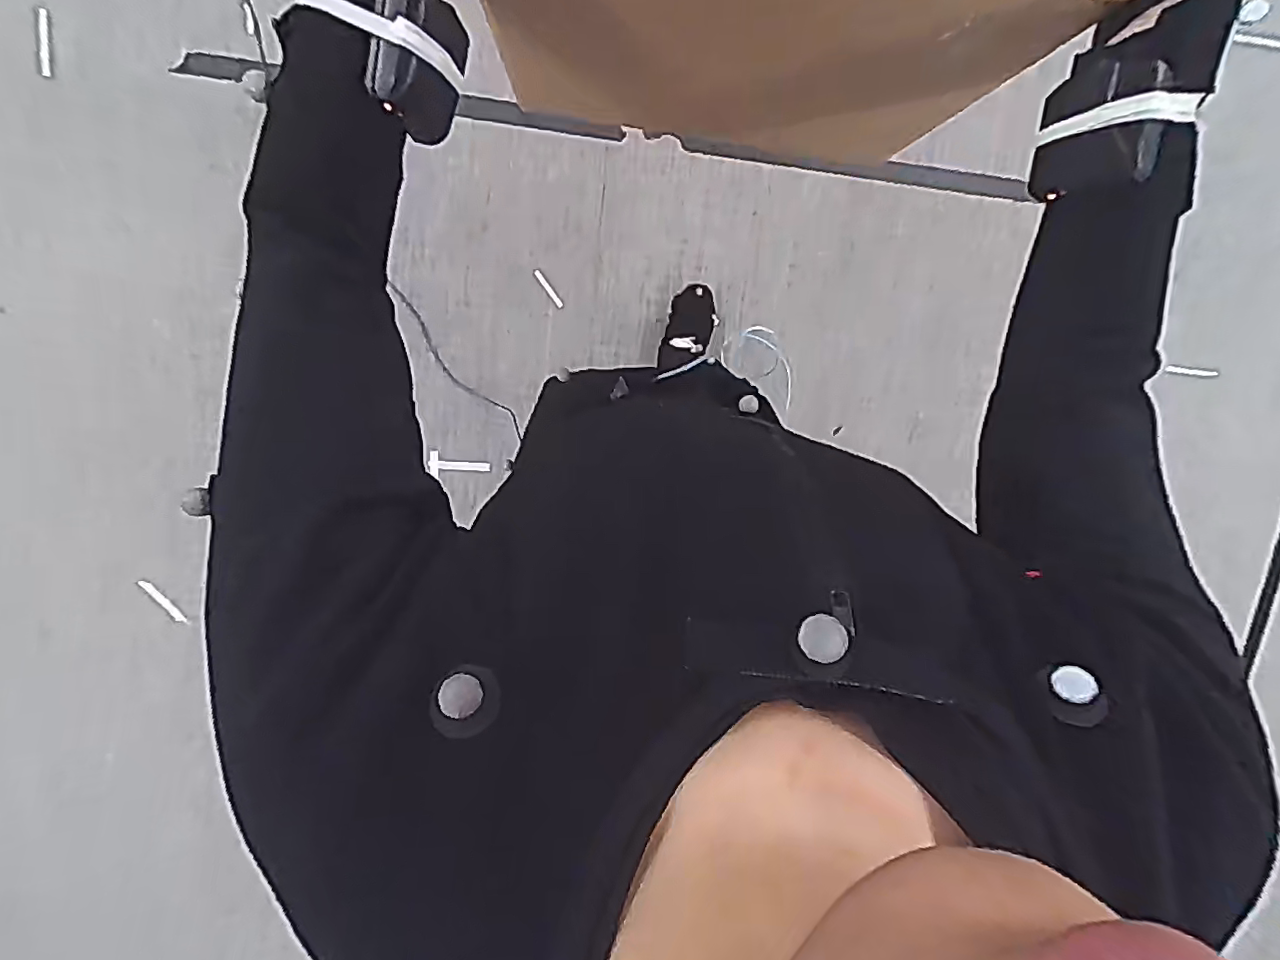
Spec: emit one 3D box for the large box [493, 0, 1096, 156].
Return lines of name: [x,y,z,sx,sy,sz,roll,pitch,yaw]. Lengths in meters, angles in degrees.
large box: [0.096,-0.494,0.424,0.408,0.320,0.320,5,105,-6]
